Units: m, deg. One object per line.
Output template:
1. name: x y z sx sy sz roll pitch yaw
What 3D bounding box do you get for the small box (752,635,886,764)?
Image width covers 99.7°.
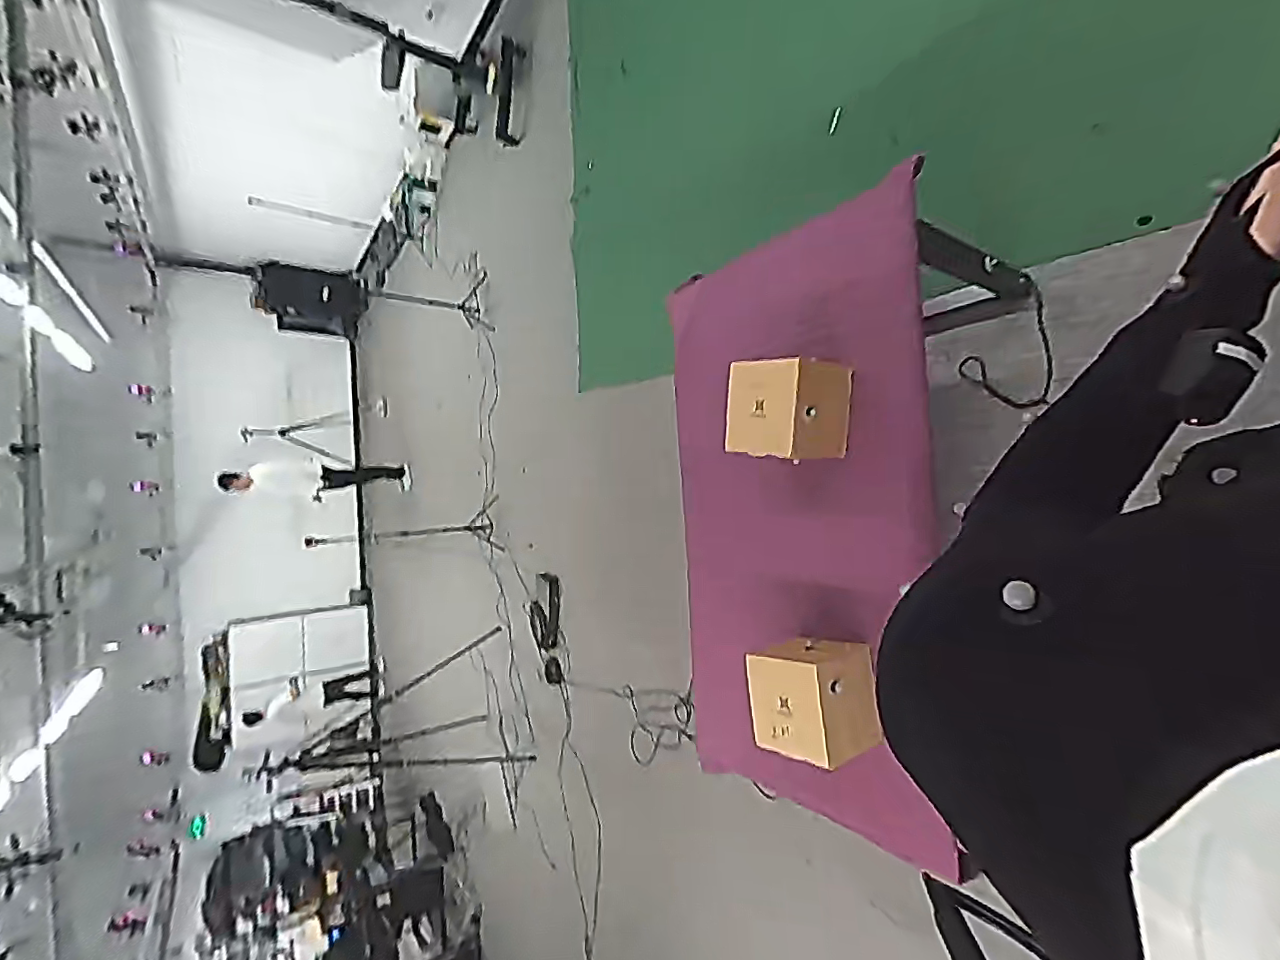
1. small box: 0.340 0.402 1.030 0.168 0.176 0.179 -13 82 53

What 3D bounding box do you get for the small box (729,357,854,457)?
1. small box: 0.294 -0.140 1.052 0.168 0.176 0.179 12 102 53
